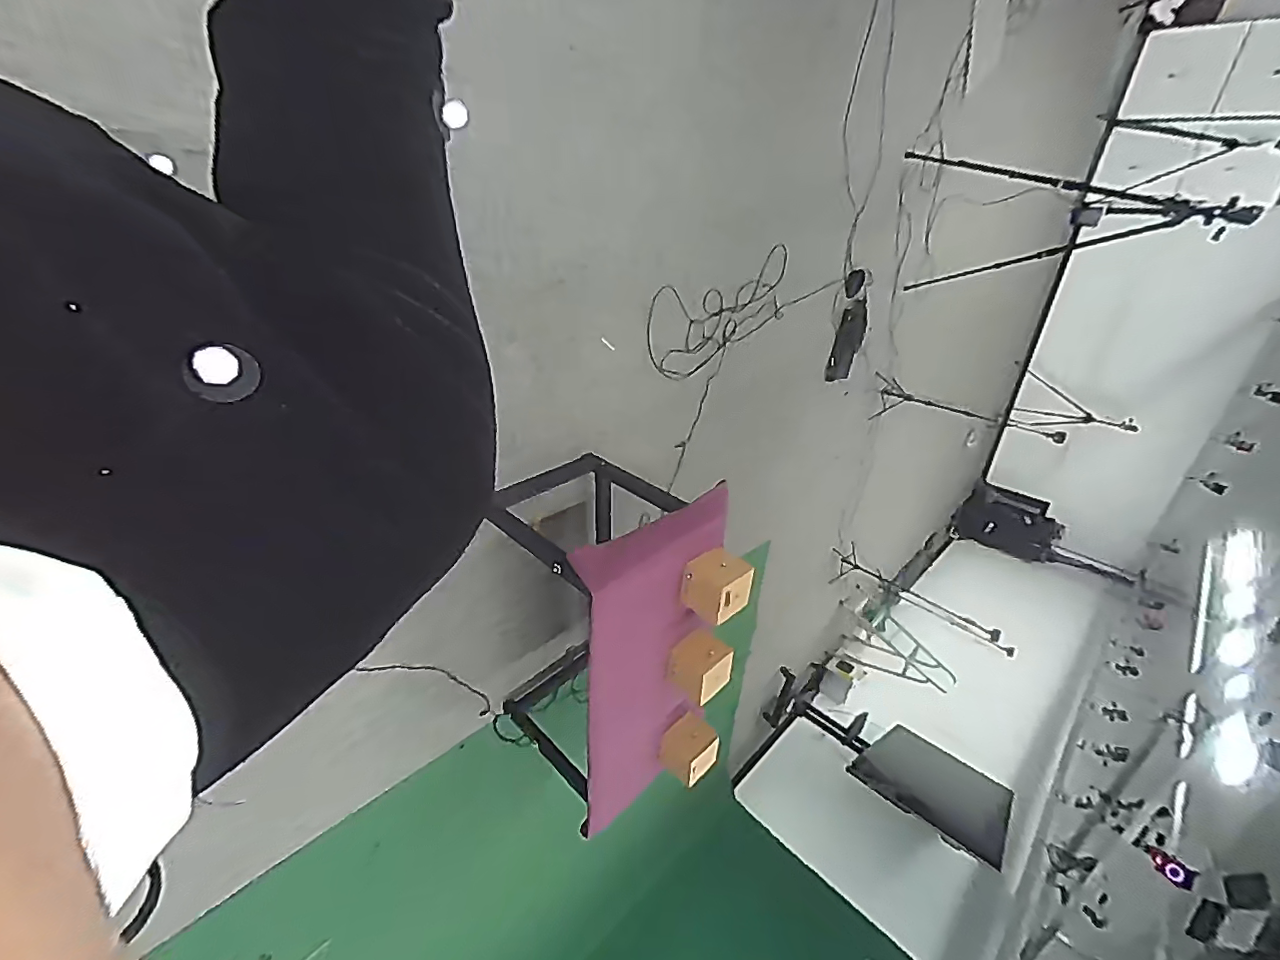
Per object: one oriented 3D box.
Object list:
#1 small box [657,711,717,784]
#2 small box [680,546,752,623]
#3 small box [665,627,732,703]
[{"bbox_3d":[0.194,1.104,2.246,0.179,0.176,0.168,-25,128,-39],"label":"small box"},{"bbox_3d":[0.259,0.355,1.871,0.179,0.176,0.168,-21,127,-40],"label":"small box"},{"bbox_3d":[0.218,0.686,2.028,0.179,0.176,0.168,-23,127,-39],"label":"small box"}]
